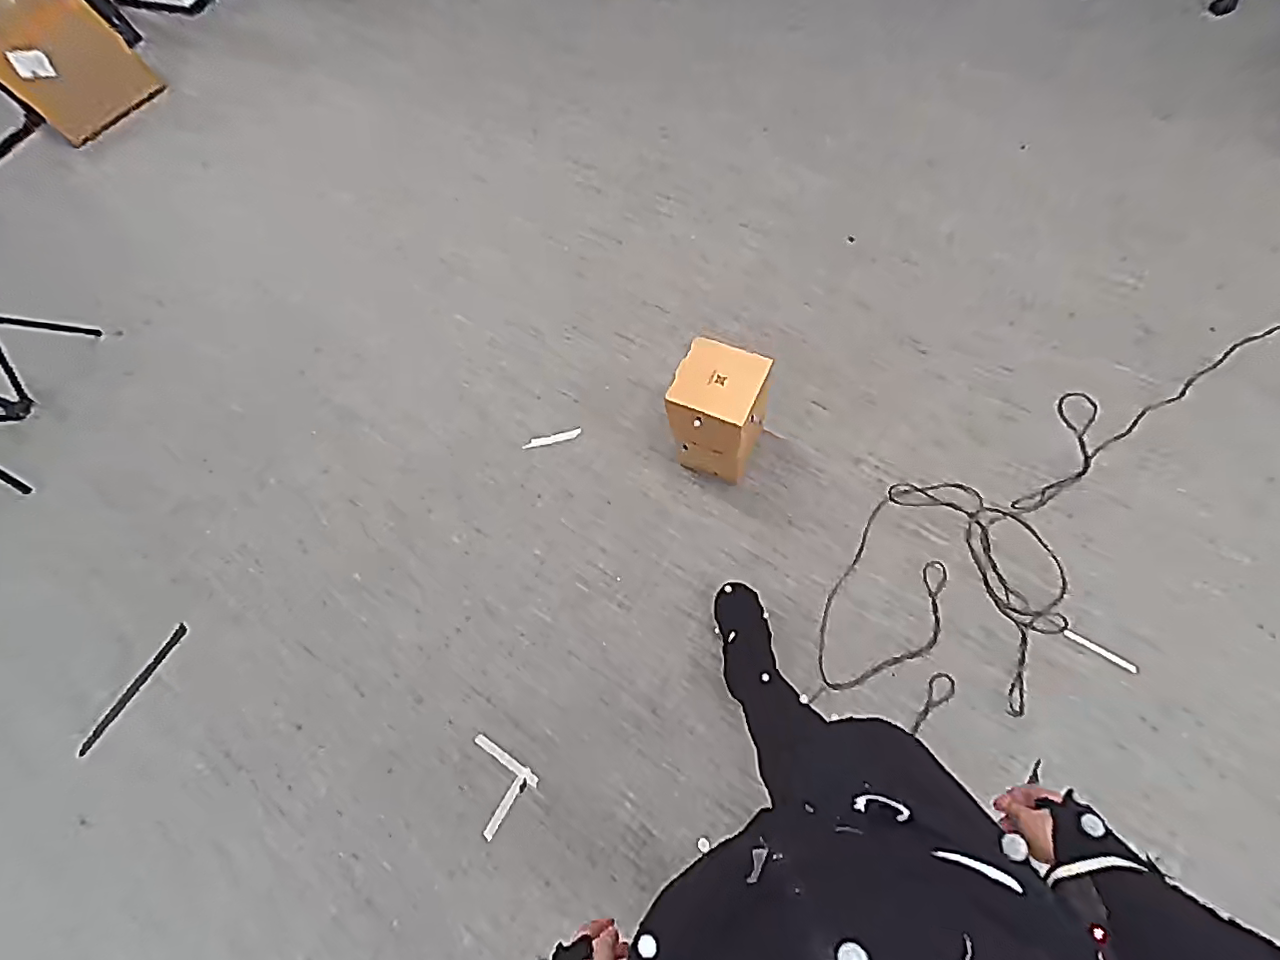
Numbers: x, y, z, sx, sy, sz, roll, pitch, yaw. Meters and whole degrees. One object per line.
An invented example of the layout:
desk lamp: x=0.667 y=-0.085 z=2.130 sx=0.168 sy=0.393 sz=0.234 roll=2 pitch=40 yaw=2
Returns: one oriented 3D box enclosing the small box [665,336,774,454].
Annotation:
small box: x=0.173 y=-0.175 z=1.169 sx=0.179 sy=0.176 sz=0.168 roll=22 pitch=74 yaw=17
